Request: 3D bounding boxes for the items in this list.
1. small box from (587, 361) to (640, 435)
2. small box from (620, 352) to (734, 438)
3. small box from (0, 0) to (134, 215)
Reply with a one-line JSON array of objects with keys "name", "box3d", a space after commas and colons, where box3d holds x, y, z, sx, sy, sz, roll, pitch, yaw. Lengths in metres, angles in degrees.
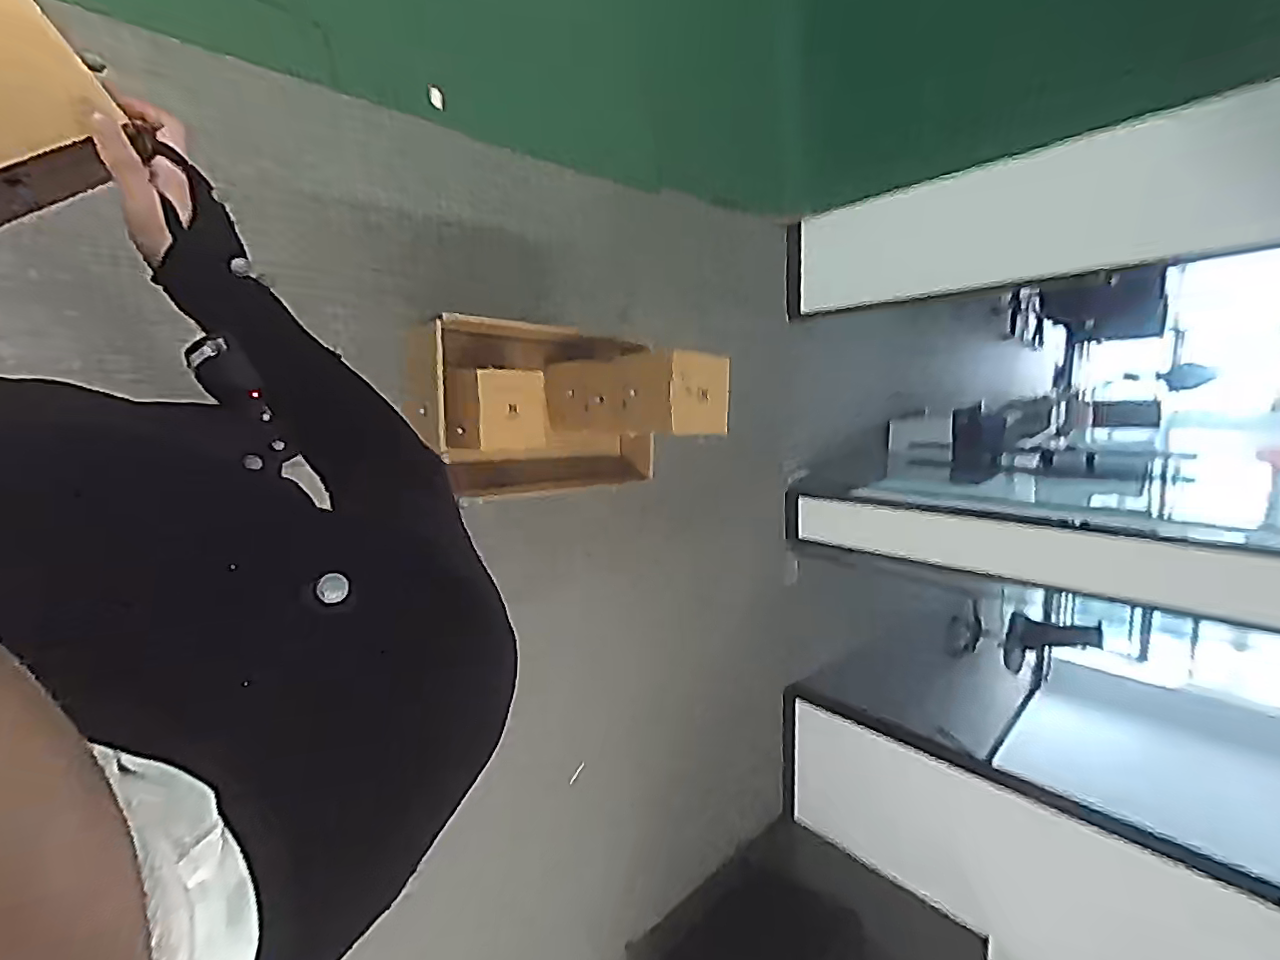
[{"name": "small box", "box3d": [-0.017, -0.200, 1.306, 0.179, 0.176, 0.168, -12, 105, -39]}, {"name": "small box", "box3d": [0.079, -0.179, 1.172, 0.179, 0.176, 0.168, -2, 97, -41]}, {"name": "small box", "box3d": [-0.537, -0.311, 0.406, 0.179, 0.176, 0.168, -39, 125, -17]}]
